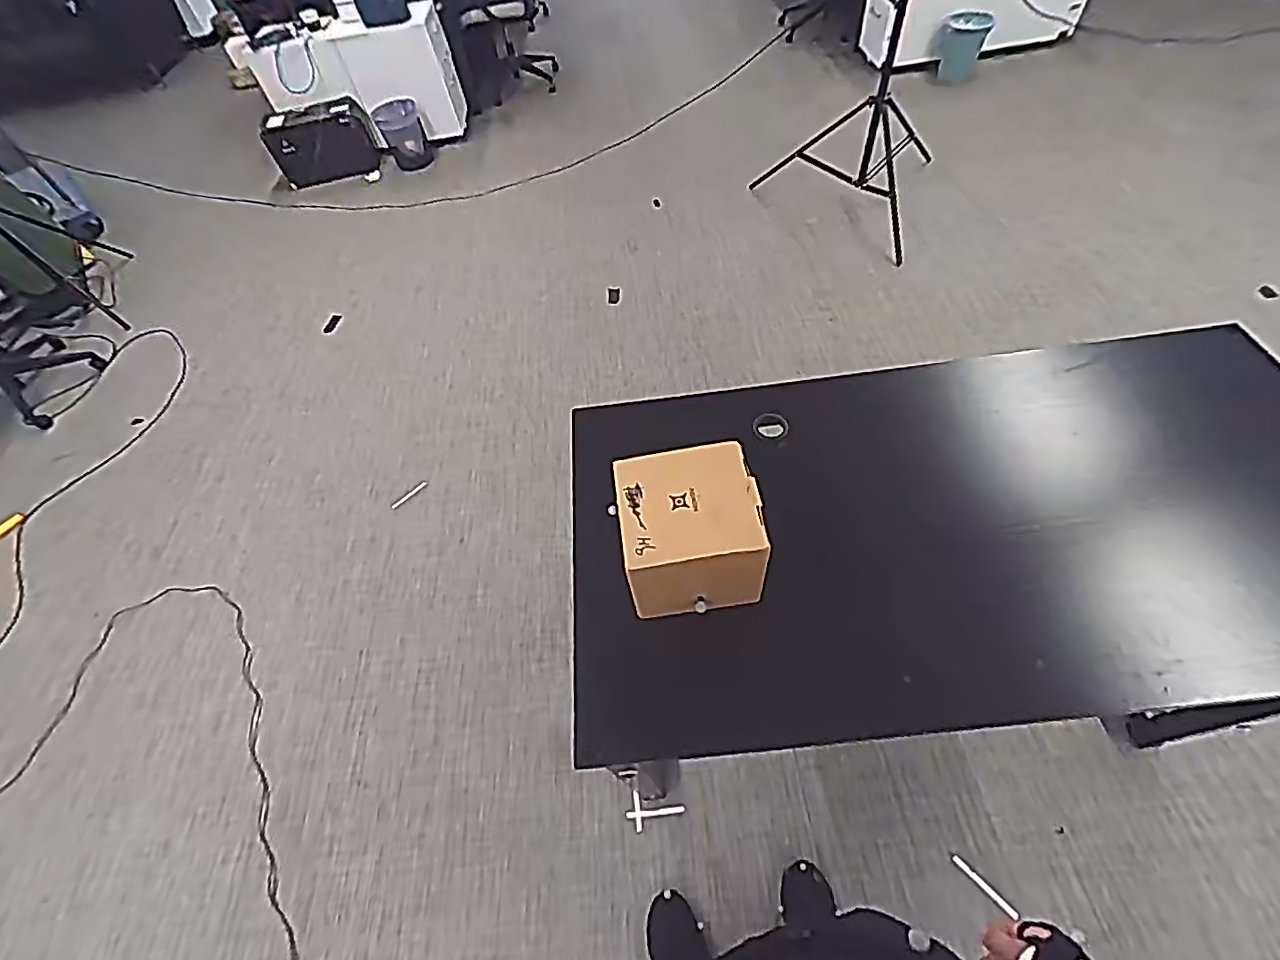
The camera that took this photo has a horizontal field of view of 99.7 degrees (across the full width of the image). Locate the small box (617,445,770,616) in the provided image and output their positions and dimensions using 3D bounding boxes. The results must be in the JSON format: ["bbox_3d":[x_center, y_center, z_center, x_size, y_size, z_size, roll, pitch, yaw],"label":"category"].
[{"bbox_3d":[0.067,0.075,0.753,0.179,0.176,0.168,-8,55,0],"label":"small box"}]
